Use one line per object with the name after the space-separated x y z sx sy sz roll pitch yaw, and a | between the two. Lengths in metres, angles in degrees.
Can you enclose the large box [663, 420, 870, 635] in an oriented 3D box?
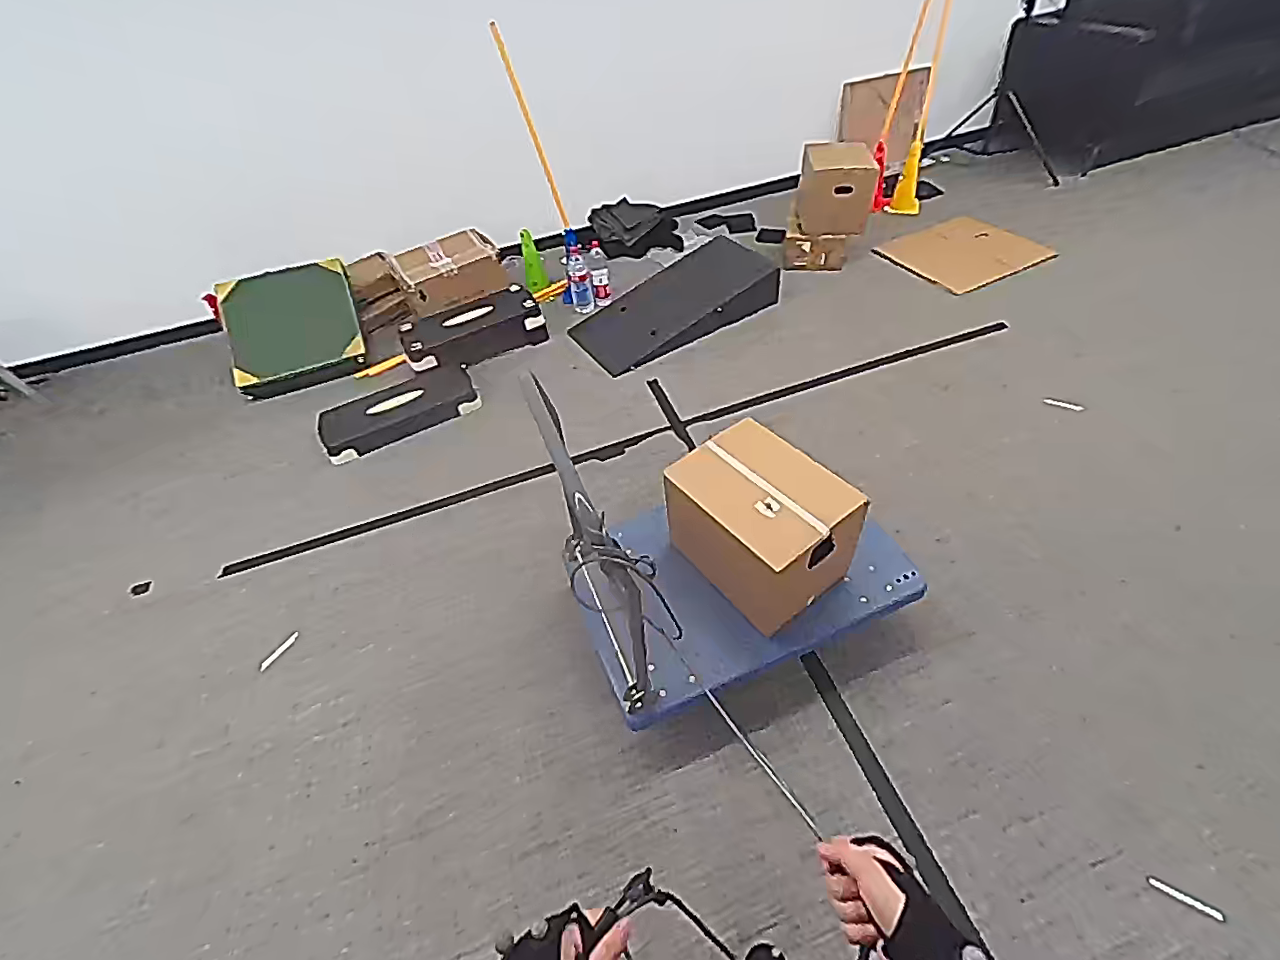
0.308 0.116 1.423 0.320 0.320 0.408 -33 53 -20 | large box
